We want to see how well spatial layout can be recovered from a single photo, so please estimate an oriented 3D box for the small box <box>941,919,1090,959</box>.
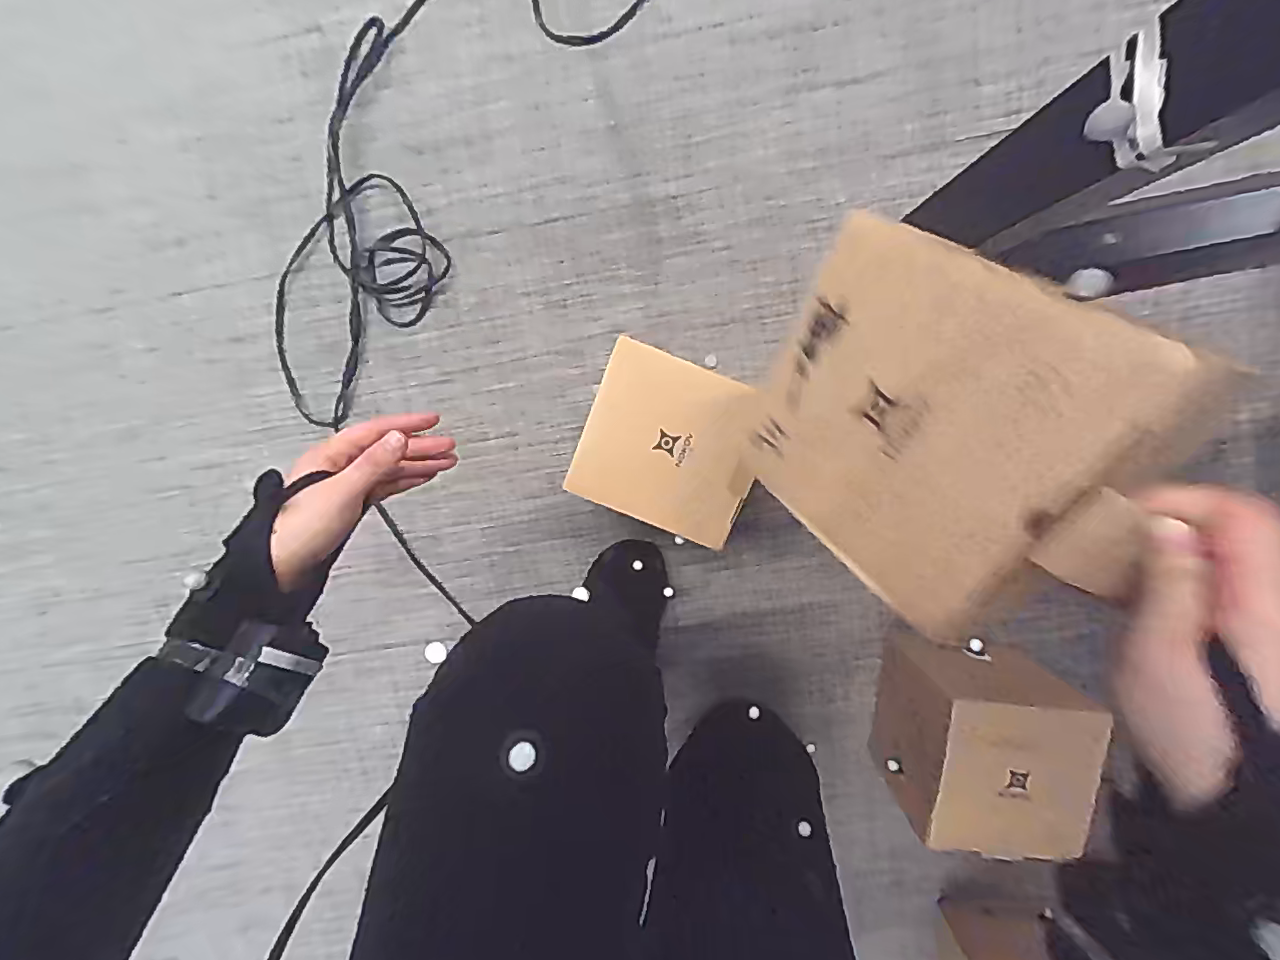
[{"bbox_3d":[0.500,0.698,0.679,0.168,0.176,0.179,-3,98,3],"label":"small box"}]
